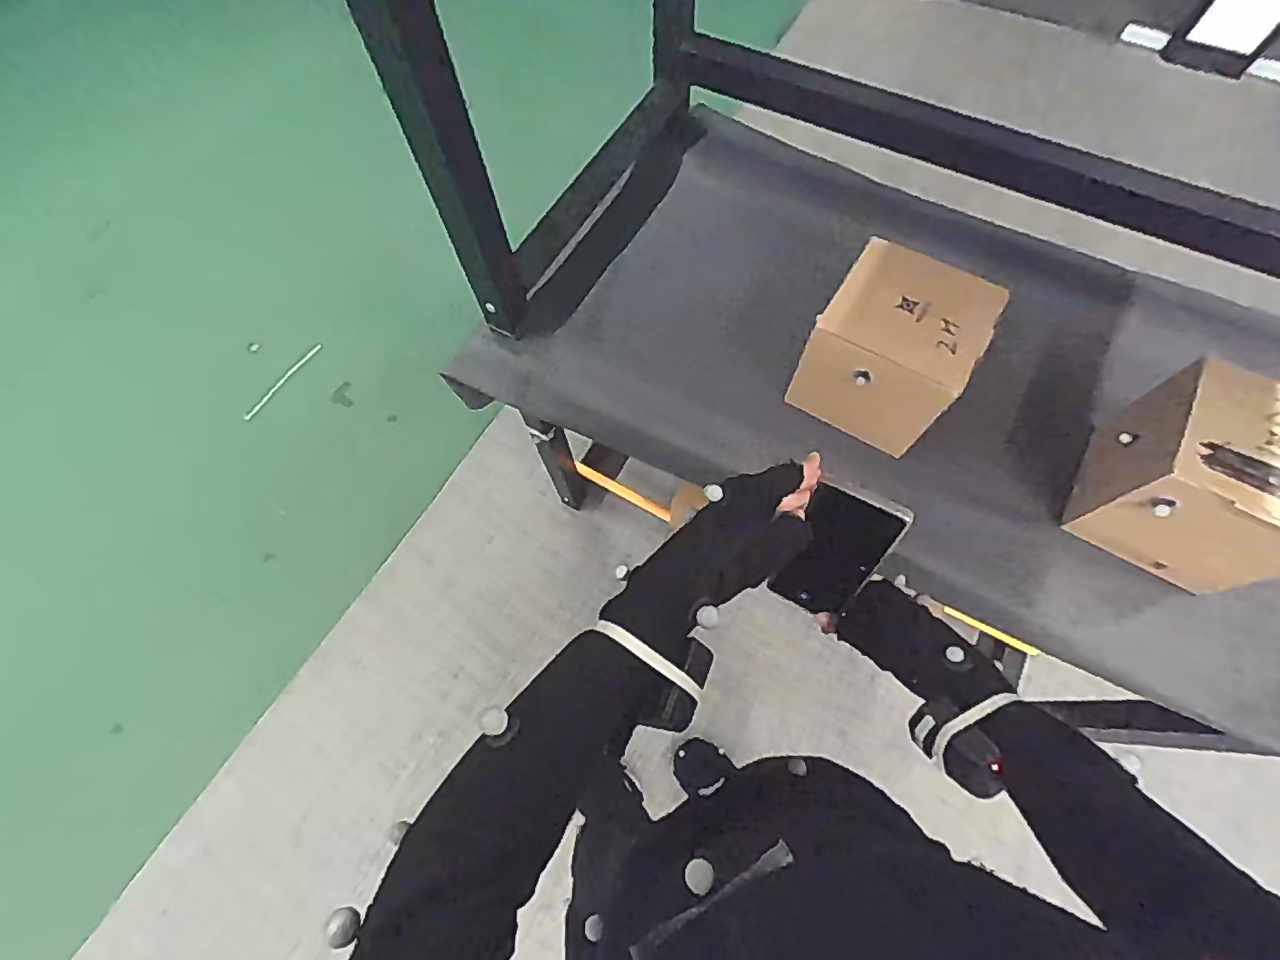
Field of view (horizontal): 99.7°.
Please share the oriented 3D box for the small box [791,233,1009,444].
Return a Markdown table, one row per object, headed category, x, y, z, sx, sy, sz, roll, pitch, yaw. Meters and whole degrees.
| category | x | y | z | sx | sy | sz | roll | pitch | yaw |
| --- | --- | --- | --- | --- | --- | --- | --- | --- | --- |
| small box | 0.321 | -0.174 | 0.703 | 0.179 | 0.176 | 0.168 | 31 | 72 | 13 |
